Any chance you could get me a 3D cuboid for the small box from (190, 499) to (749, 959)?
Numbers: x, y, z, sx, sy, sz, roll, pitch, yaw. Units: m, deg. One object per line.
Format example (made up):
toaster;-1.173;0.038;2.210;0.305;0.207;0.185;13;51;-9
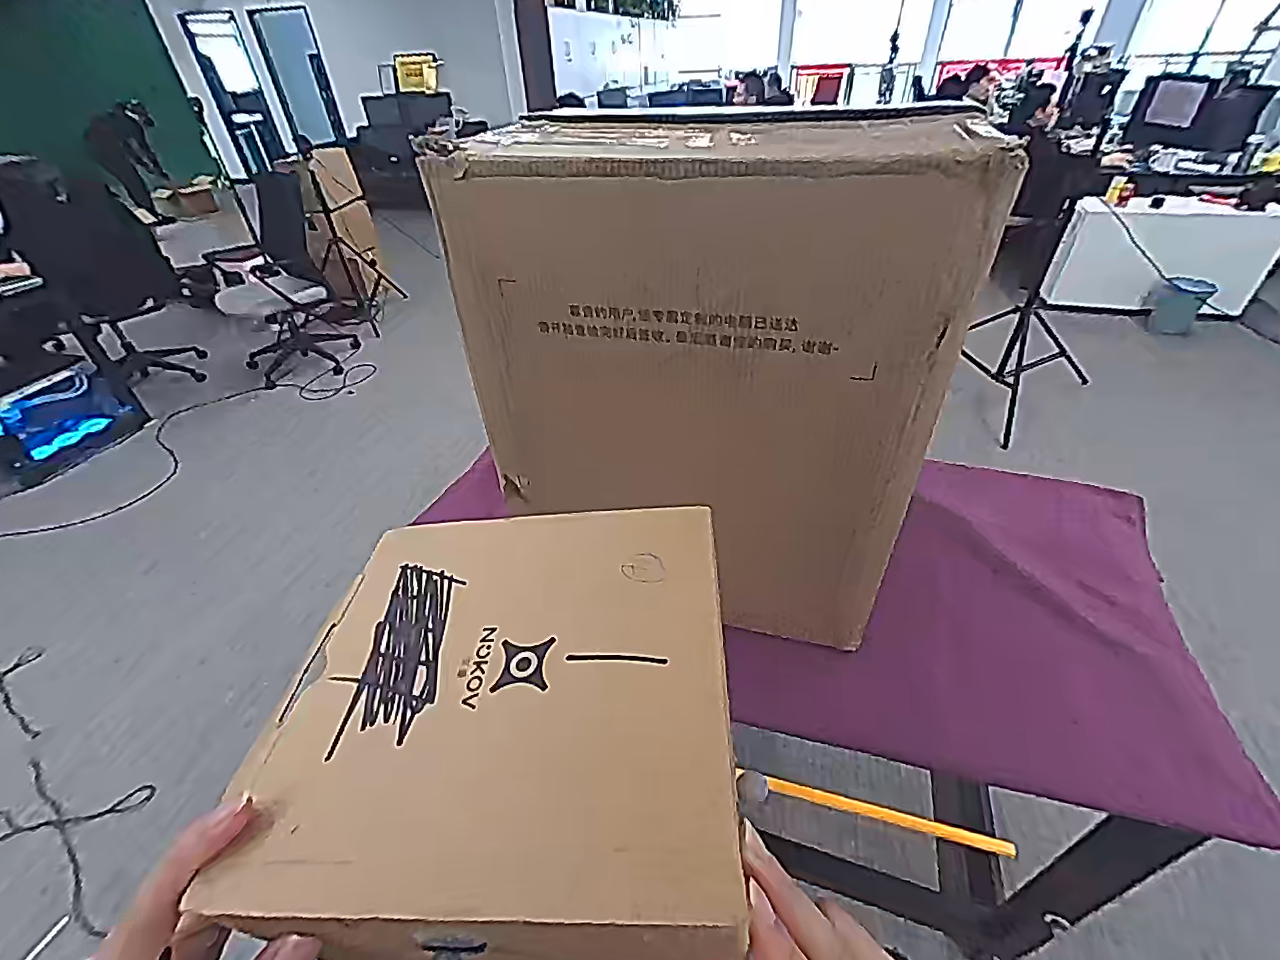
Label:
small box;-0.042;0.129;0.268;0.179;0.176;0.168;-4;41;7
